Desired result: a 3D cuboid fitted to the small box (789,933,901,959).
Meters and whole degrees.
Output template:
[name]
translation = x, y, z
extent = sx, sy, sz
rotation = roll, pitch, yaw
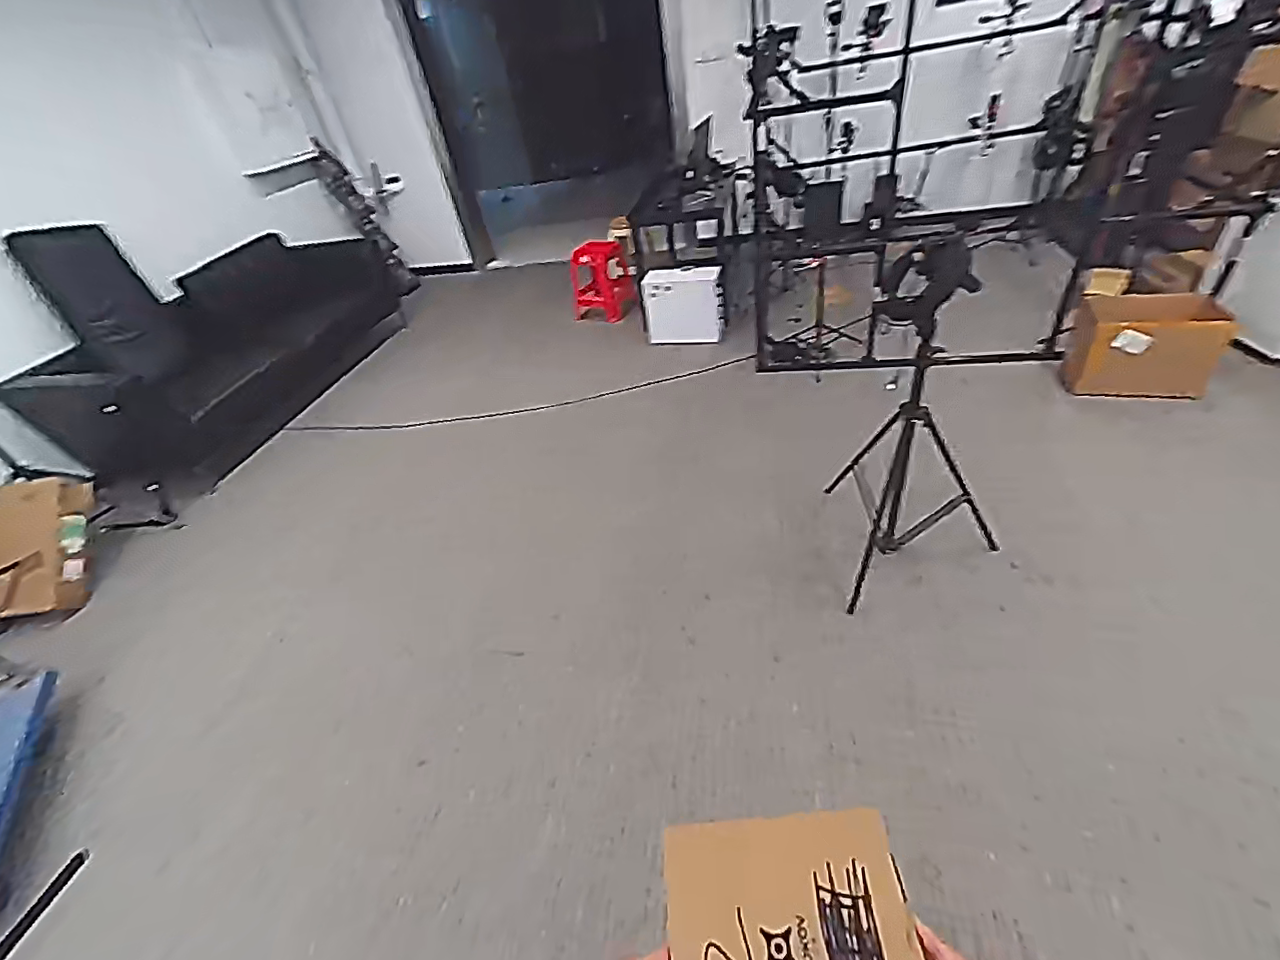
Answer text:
[small box]
translation = 0.343, 0.880, 0.893
extent = 0.179, 0.176, 0.168
rotation = -4, 39, 11
